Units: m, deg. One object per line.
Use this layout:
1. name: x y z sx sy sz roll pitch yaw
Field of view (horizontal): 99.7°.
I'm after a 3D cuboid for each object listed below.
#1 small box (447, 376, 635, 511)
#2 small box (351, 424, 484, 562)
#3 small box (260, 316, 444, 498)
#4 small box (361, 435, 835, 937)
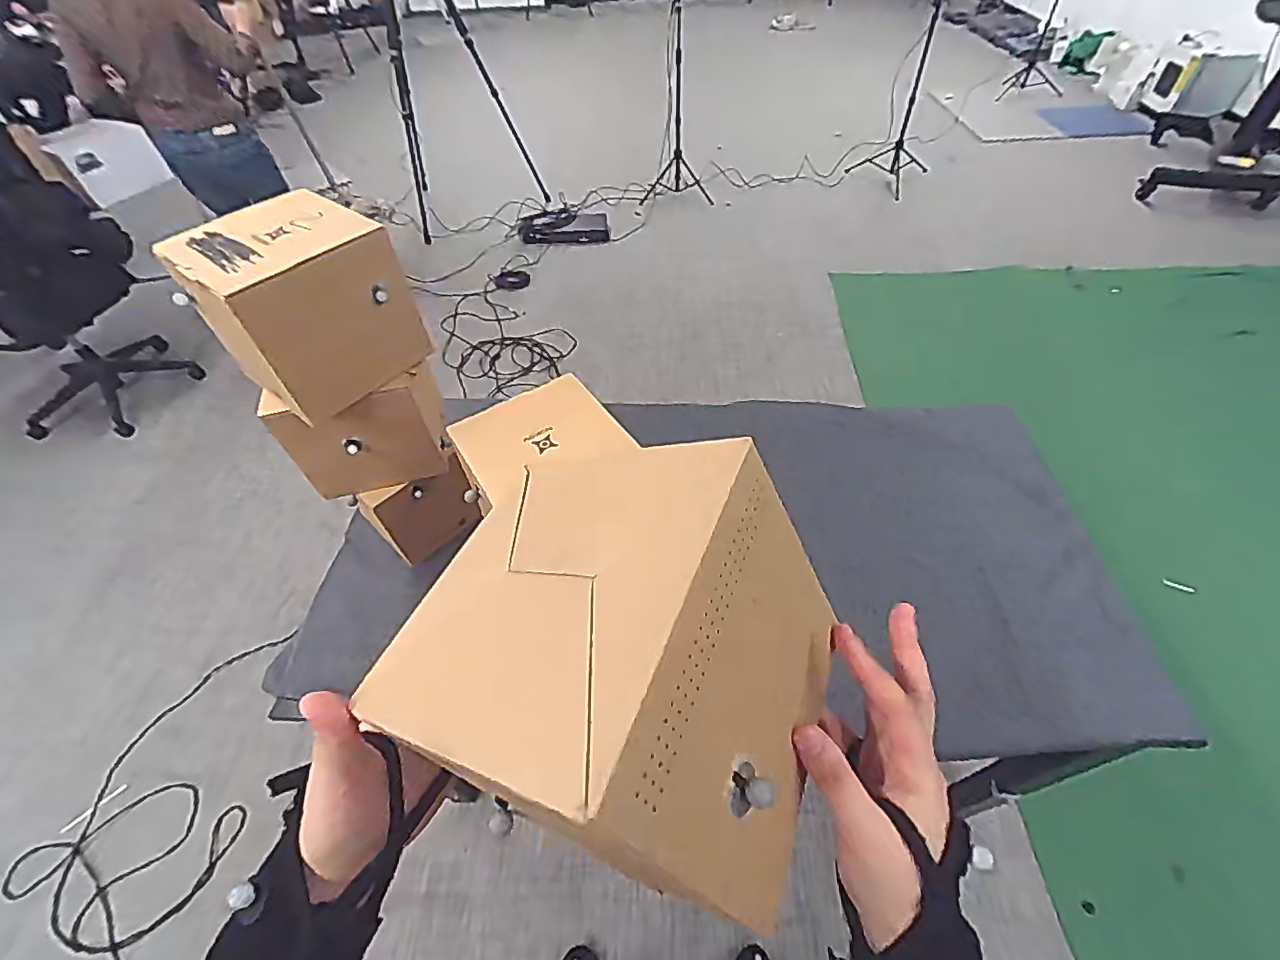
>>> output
1. small box: -0.102 0.012 0.652 0.168 0.176 0.179 -28 53 -19
2. small box: -0.377 0.002 0.891 0.179 0.176 0.168 34 60 27
3. small box: -0.385 -0.100 0.761 0.179 0.176 0.168 -14 52 -8
4. small box: -0.010 0.099 0.303 0.168 0.176 0.179 -2 46 38
